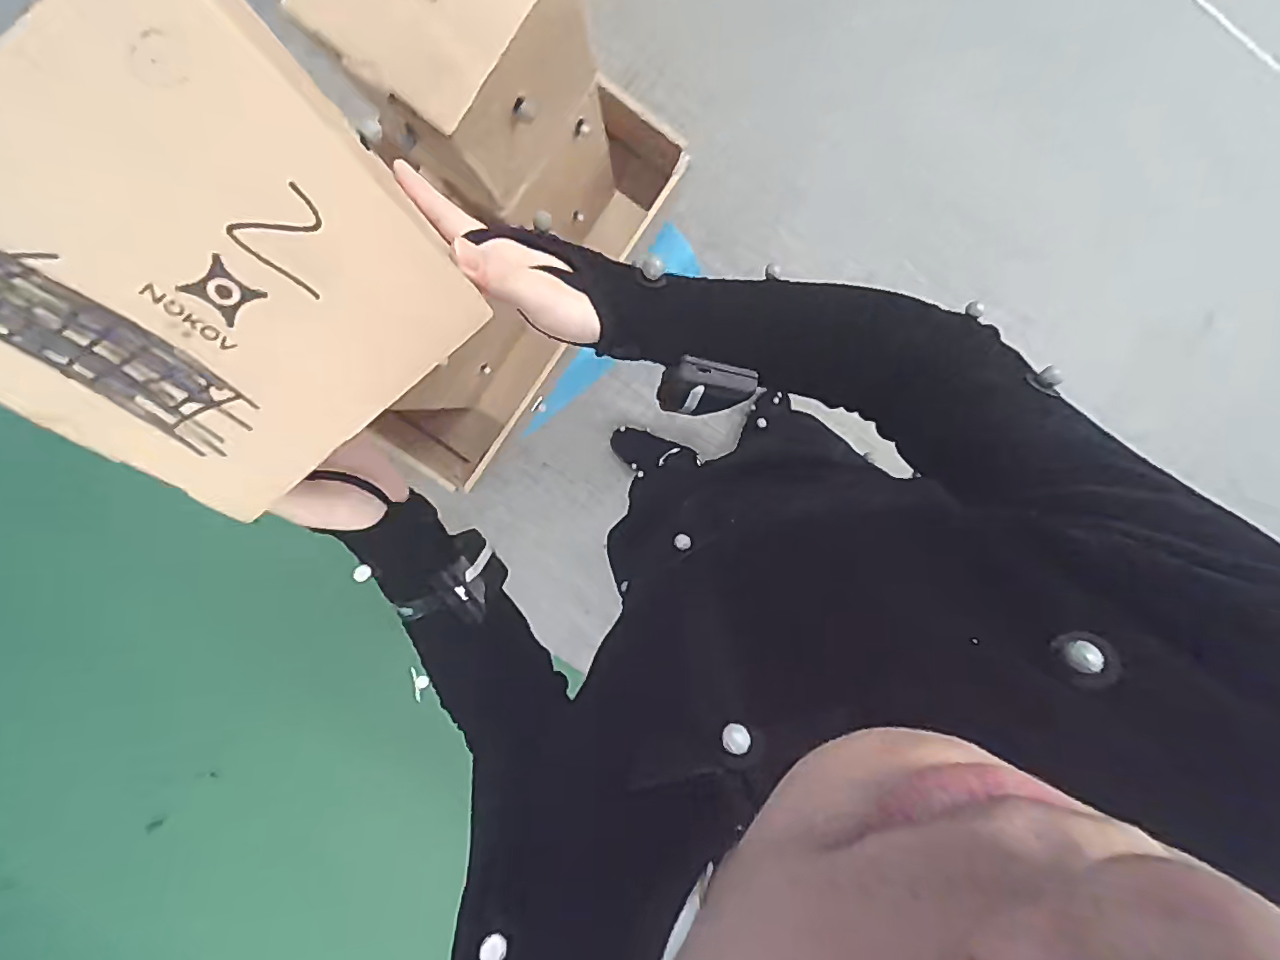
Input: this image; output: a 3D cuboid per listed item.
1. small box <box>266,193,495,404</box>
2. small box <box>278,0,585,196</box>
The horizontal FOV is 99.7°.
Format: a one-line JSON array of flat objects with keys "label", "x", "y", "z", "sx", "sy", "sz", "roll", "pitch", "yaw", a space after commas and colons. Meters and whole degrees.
[{"label": "small box", "x": -0.310, "y": -0.212, "z": 0.687, "sx": 0.168, "sy": 0.176, "sz": 0.179, "roll": 35, "pitch": 97, "yaw": -4}, {"label": "small box", "x": -0.166, "y": -0.401, "z": 0.493, "sx": 0.168, "sy": 0.176, "sz": 0.179, "roll": 37, "pitch": 99, "yaw": -5}]
